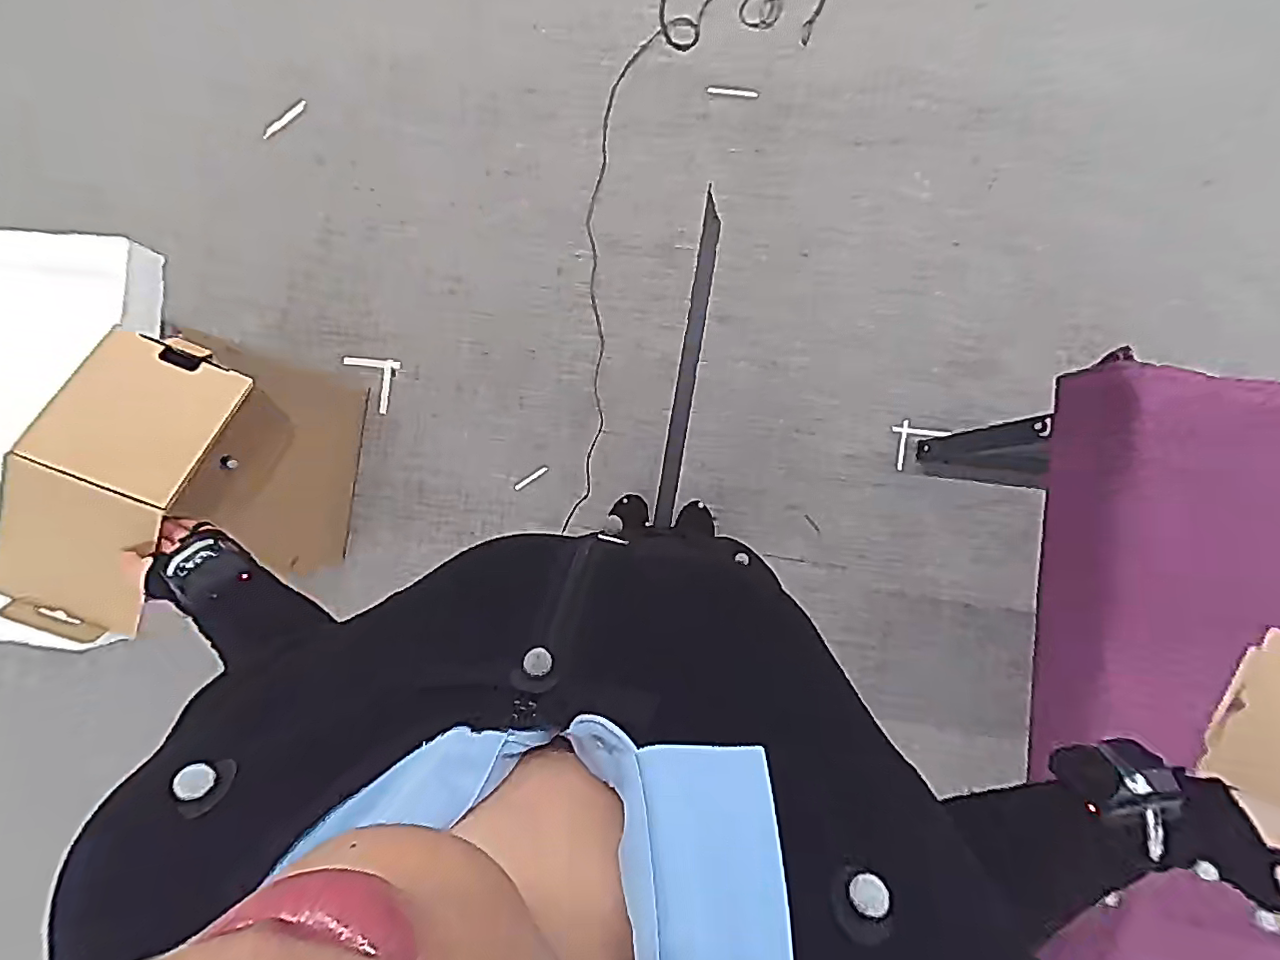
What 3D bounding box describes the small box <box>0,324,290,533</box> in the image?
[{"bbox_3d":[-0.576,-0.049,0.666,0.168,0.176,0.179,23,71,-7],"label":"small box"}]
